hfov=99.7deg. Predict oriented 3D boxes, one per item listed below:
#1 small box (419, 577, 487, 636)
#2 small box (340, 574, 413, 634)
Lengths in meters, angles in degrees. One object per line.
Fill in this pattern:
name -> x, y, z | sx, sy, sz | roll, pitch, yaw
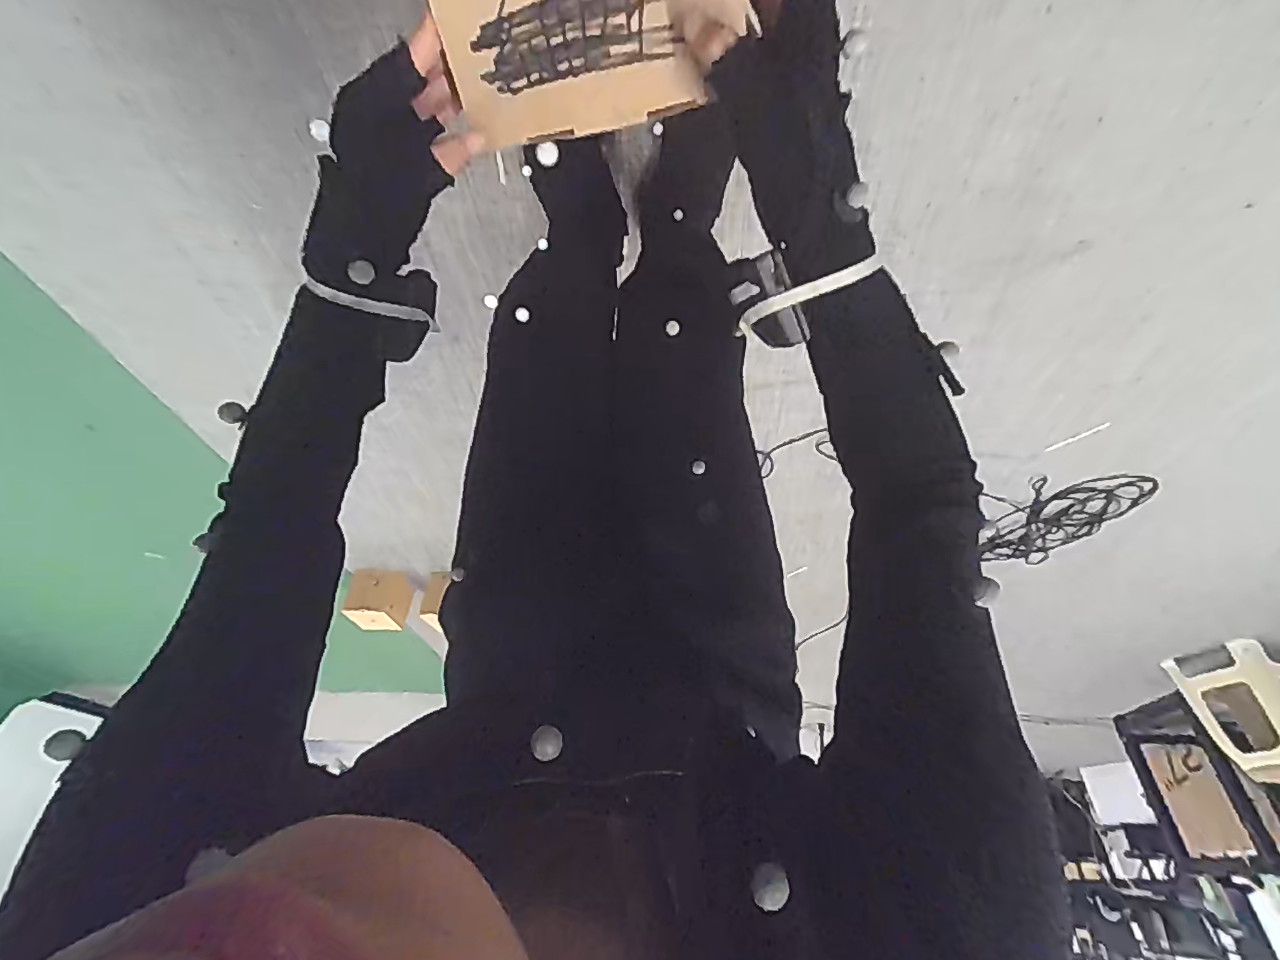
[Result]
small box -> -0.692, 0.470, 2.018 | 0.168, 0.176, 0.179 | -3, 143, 8
small box -> -0.984, 0.468, 2.039 | 0.168, 0.176, 0.179 | -1, 142, 5
